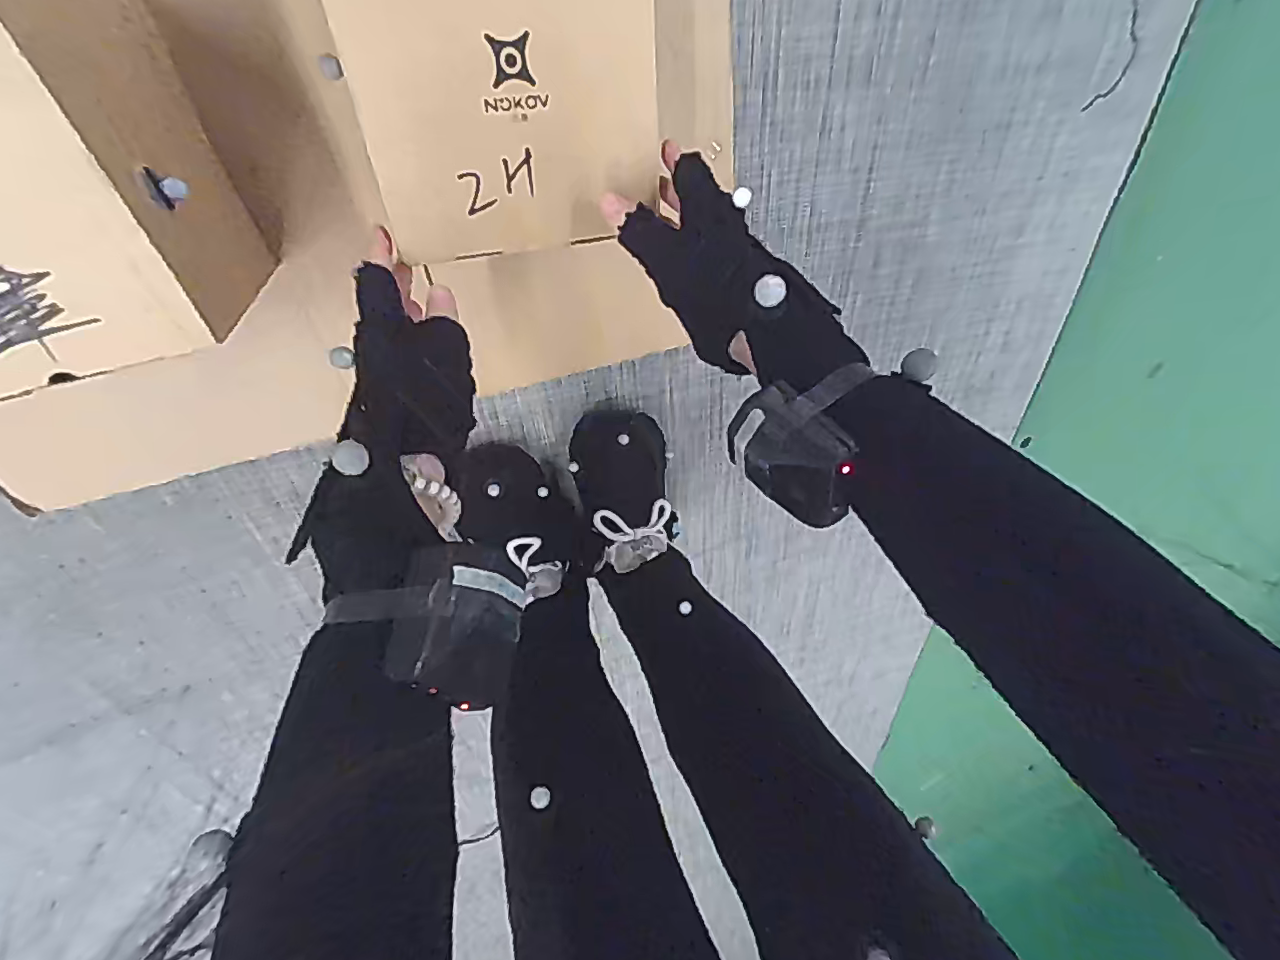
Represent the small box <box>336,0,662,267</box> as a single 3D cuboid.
[{"bbox_3d":[-0.090,-0.259,0.354,0.168,0.176,0.179,-13,129,-12],"label":"small box"}]
